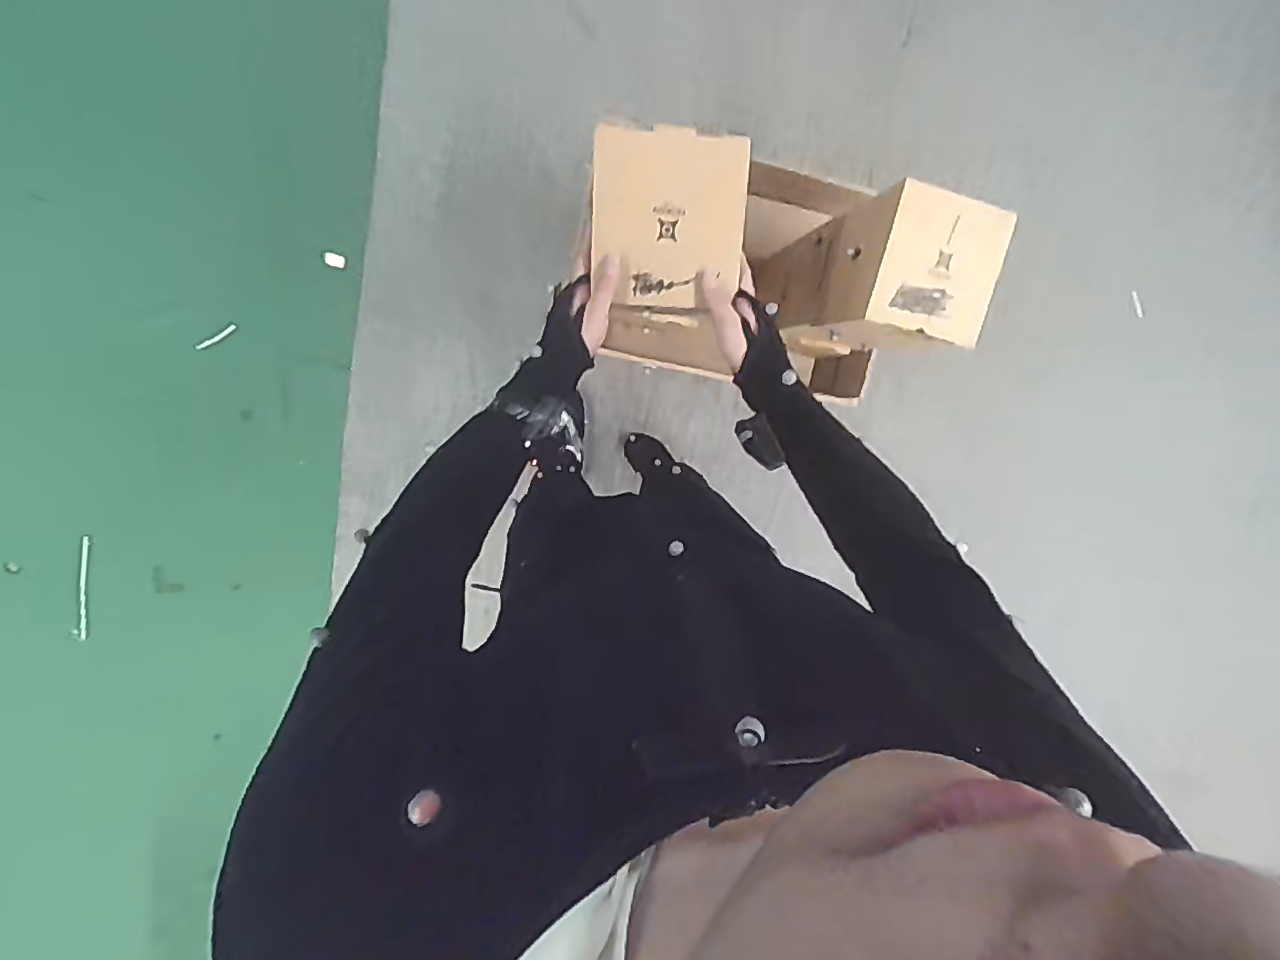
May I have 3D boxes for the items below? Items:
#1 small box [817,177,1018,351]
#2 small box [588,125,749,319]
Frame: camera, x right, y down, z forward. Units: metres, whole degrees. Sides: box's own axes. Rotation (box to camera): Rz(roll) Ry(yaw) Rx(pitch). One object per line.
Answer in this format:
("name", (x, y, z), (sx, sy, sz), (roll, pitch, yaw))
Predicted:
("small box", (0.374, -0.288, 0.767), (0.168, 0.176, 0.179), (12, 99, -10))
("small box", (0.022, -0.293, 0.653), (0.168, 0.176, 0.179), (1, 105, -5))
